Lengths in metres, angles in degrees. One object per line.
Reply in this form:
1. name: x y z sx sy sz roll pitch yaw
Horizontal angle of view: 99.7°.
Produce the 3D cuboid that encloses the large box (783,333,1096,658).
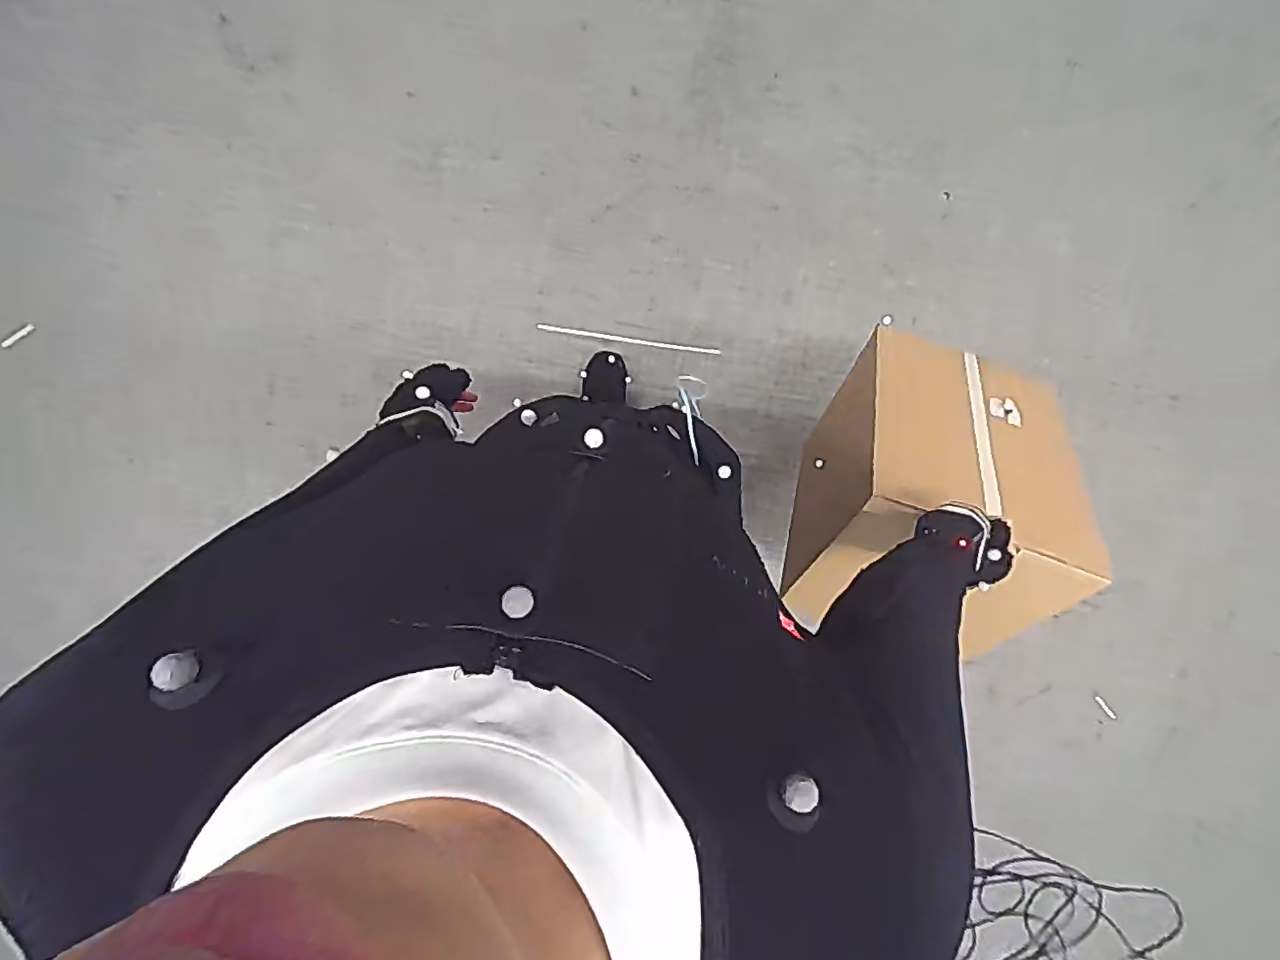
1. large box: 0.464 0.024 0.929 0.320 0.408 0.320 21 140 2
